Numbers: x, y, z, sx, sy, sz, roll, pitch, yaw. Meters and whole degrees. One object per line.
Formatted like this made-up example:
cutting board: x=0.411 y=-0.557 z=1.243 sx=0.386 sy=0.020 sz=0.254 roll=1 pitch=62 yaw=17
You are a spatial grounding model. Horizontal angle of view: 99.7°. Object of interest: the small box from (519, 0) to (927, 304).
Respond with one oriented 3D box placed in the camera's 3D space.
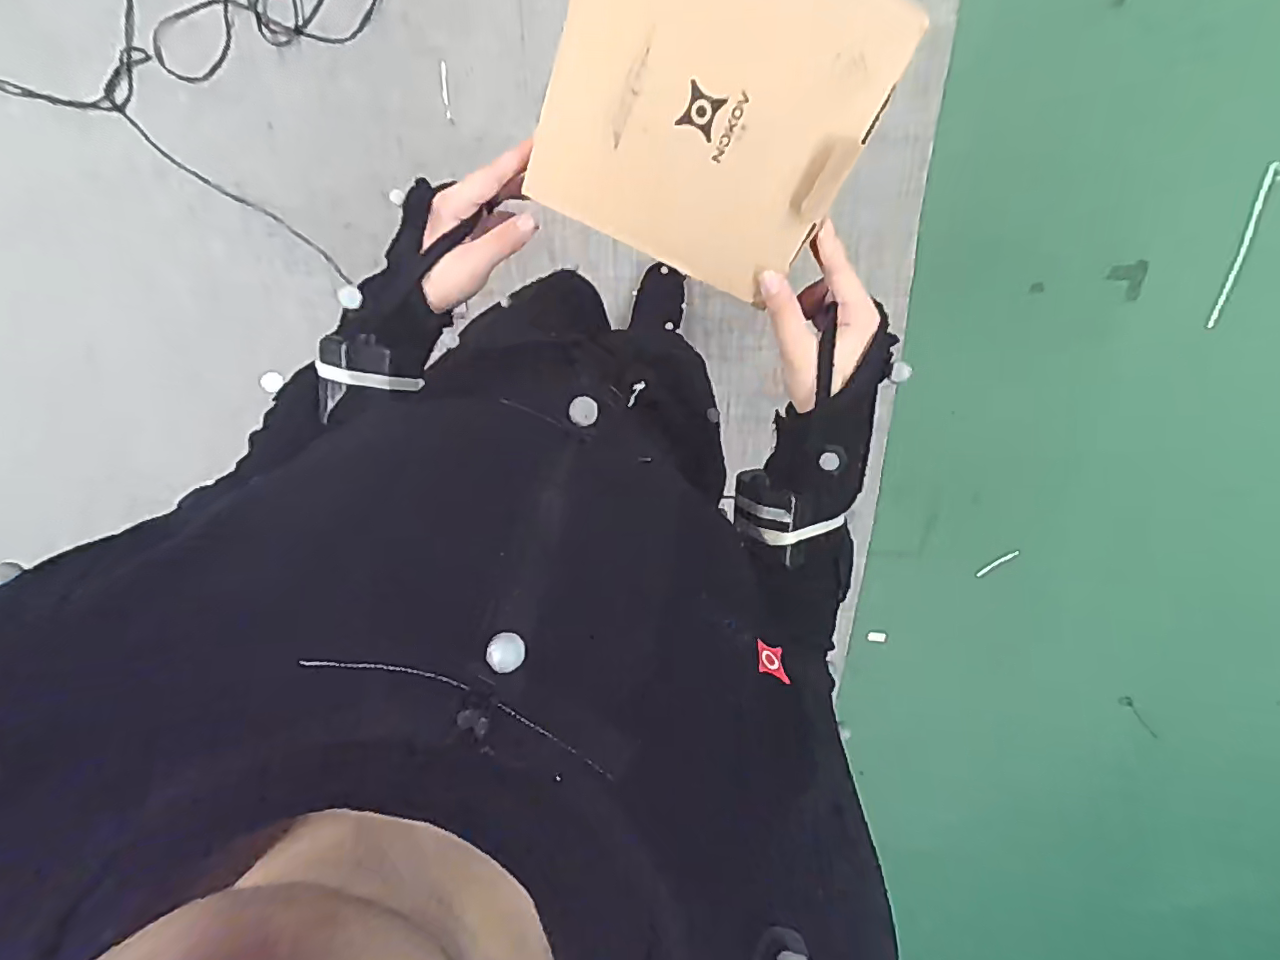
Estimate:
small box: x=0.043 y=-0.251 z=0.366 sx=0.179 sy=0.176 sz=0.168 roll=22 pitch=124 yaw=-8
